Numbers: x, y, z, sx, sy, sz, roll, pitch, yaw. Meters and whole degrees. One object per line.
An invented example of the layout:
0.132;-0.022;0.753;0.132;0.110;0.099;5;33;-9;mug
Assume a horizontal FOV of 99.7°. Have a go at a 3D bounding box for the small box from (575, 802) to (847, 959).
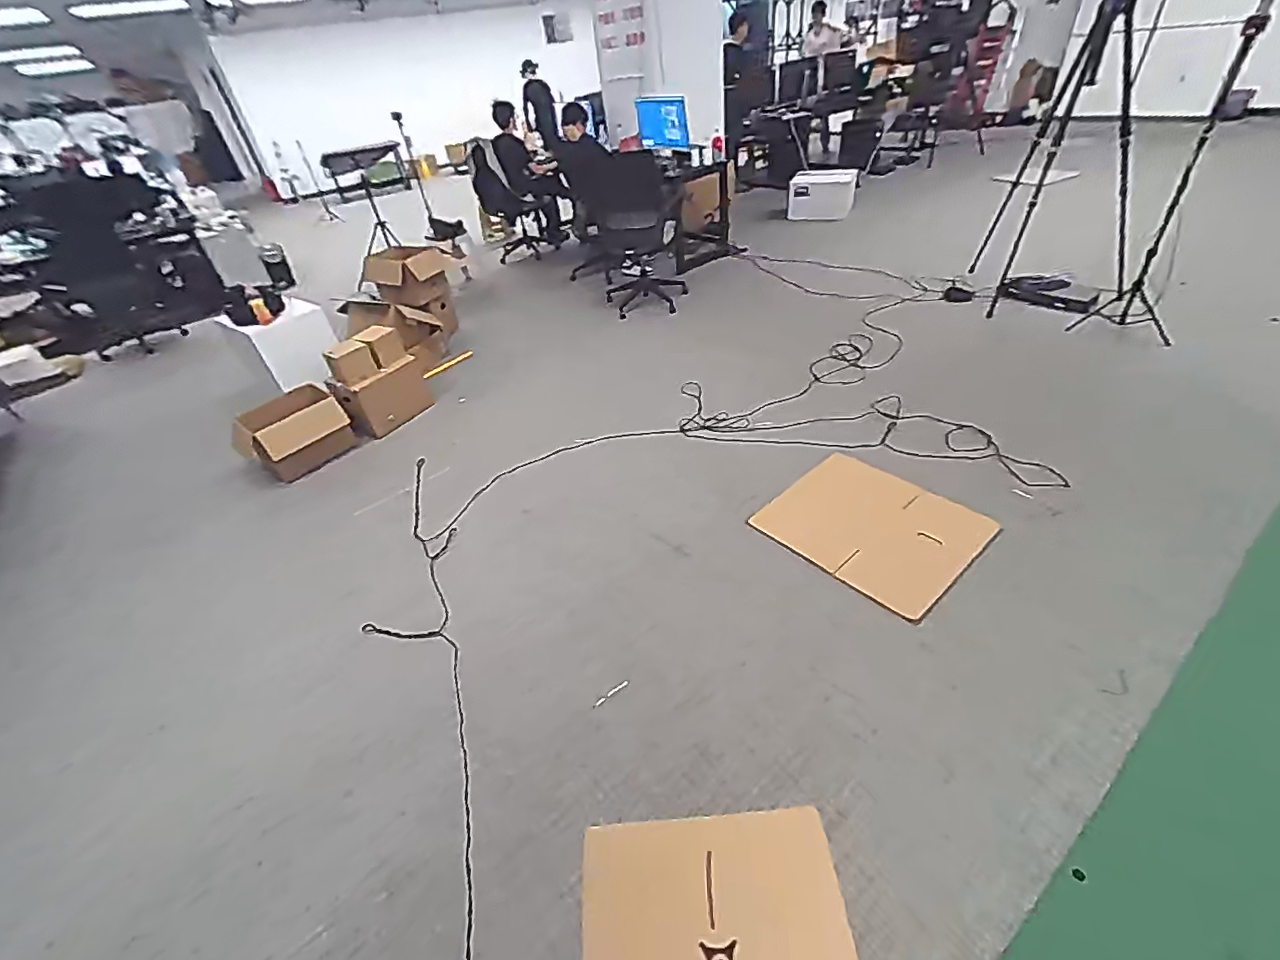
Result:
0.049;0.351;0.375;0.168;0.176;0.179;-6;43;0;small box
